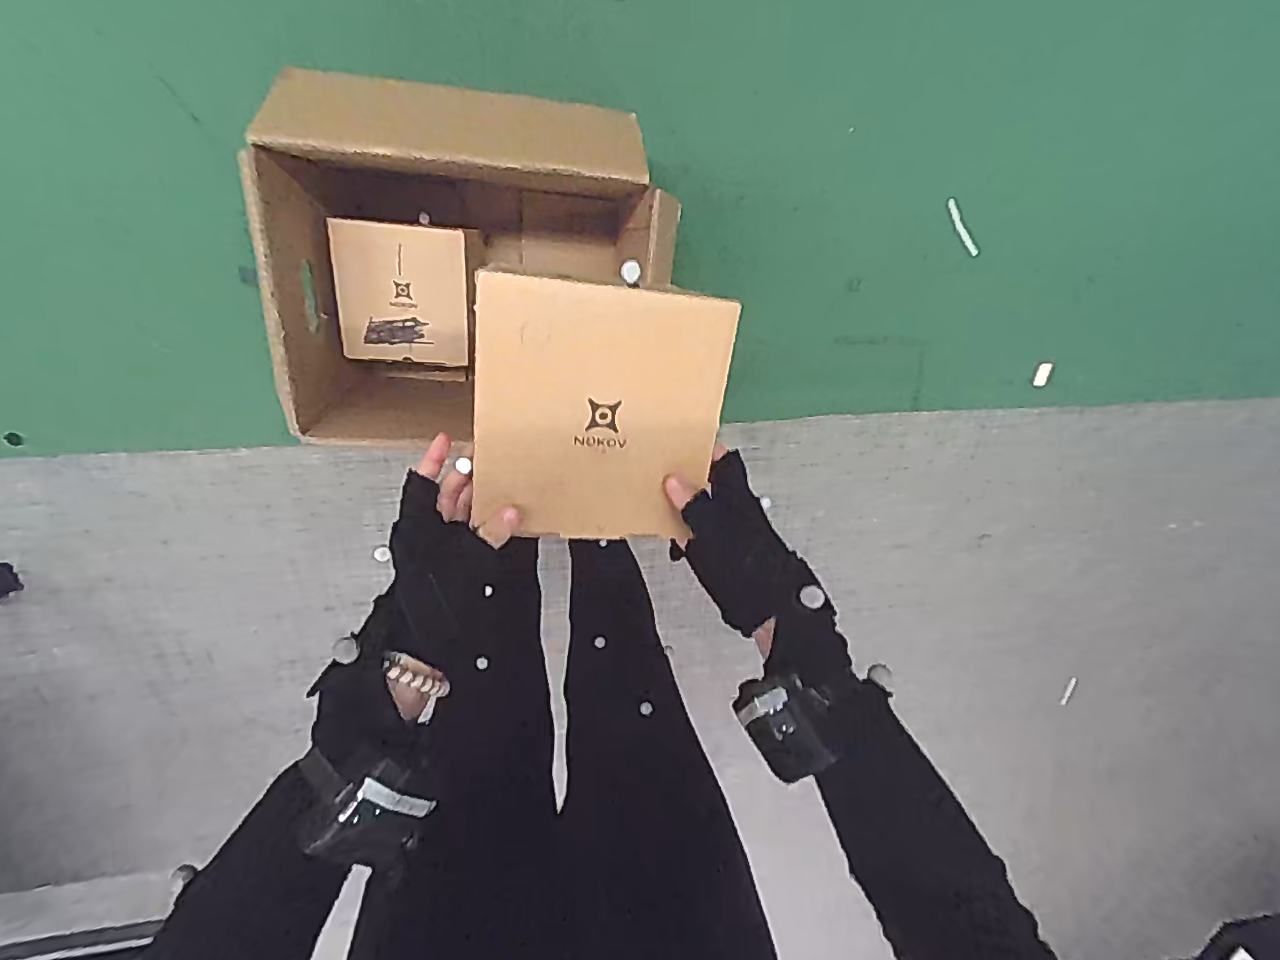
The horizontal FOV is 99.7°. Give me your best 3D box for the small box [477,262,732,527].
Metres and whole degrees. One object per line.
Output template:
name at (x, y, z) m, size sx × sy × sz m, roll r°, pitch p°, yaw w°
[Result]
small box at (-0.044, -0.076, 0.442) m, size 0.168 × 0.176 × 0.179 m, roll 2°, pitch 113°, yaw -14°
